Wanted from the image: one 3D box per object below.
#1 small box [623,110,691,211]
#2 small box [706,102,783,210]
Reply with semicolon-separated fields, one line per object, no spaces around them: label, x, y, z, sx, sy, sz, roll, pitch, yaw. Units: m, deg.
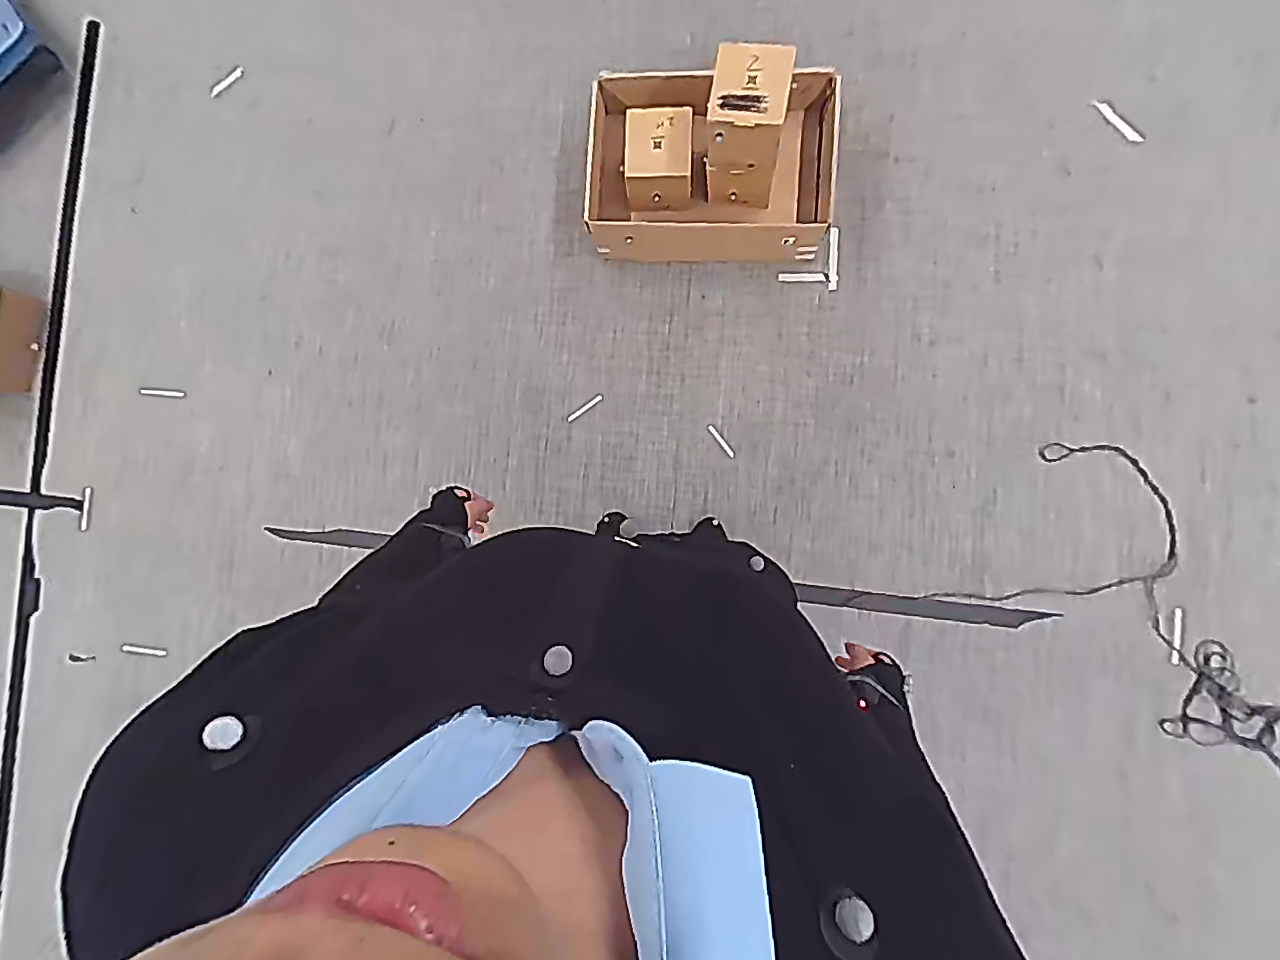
small box;0.049;-0.826;1.414;0.168;0.176;0.179;2;88;4
small box;0.265;-0.831;1.395;0.168;0.176;0.179;8;90;9
